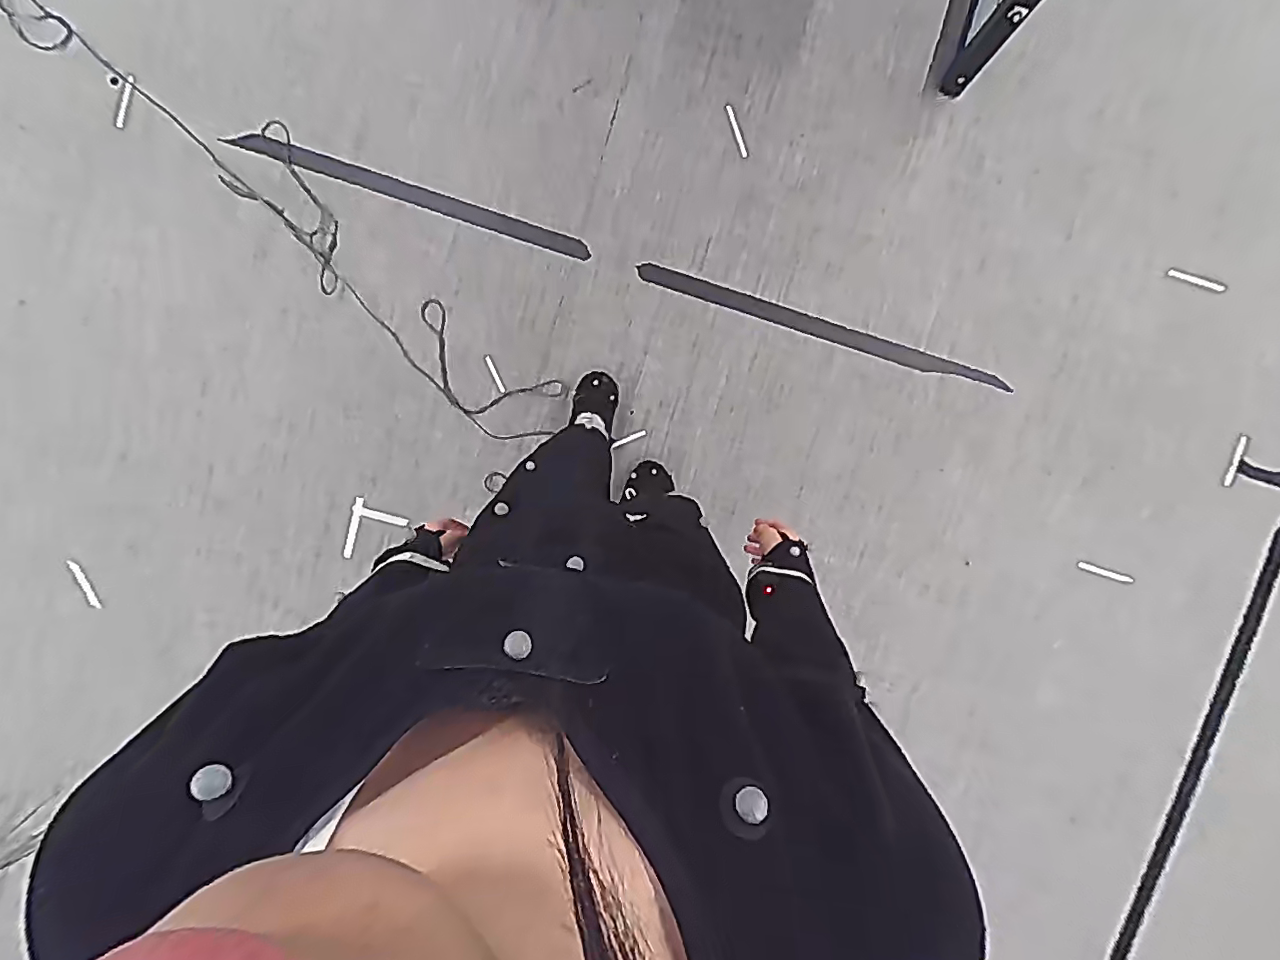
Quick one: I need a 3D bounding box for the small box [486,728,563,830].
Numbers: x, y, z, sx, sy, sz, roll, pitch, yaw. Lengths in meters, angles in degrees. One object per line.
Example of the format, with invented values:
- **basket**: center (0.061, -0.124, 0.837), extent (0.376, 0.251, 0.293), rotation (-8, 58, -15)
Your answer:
- **small box**: center (-0.300, 0.785, 1.434), extent (0.168, 0.176, 0.179), rotation (4, 93, 0)
